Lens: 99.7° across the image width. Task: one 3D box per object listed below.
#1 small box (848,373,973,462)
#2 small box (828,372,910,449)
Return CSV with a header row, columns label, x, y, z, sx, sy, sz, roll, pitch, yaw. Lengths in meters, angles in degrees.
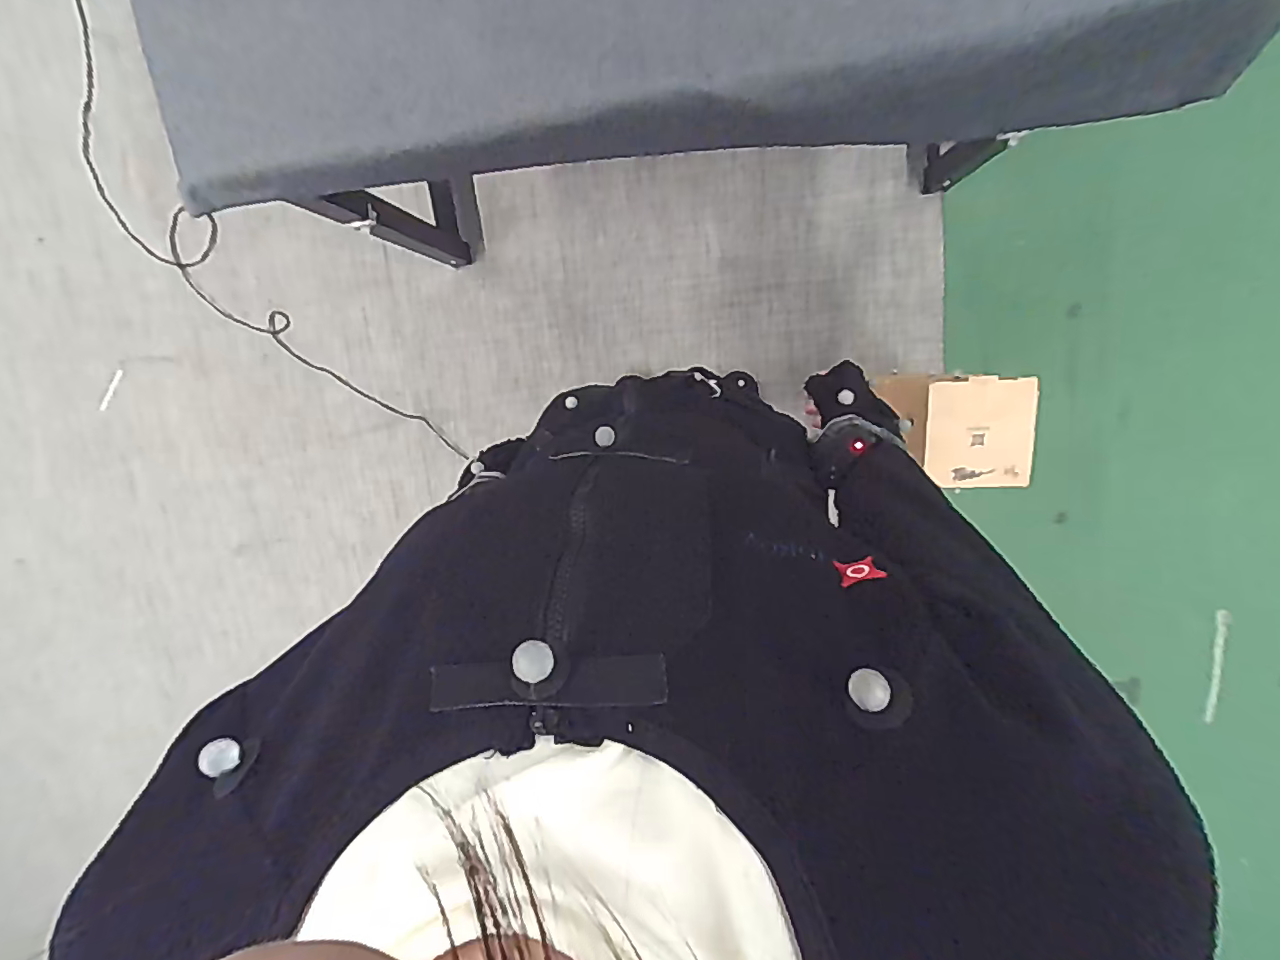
label,x,y,z,sx,sy,sz,roll,pitch,yaw
small box,0.543,-0.132,1.107,0.179,0.176,0.168,-1,101,6
small box,0.553,-0.167,1.267,0.179,0.176,0.168,-1,101,7
